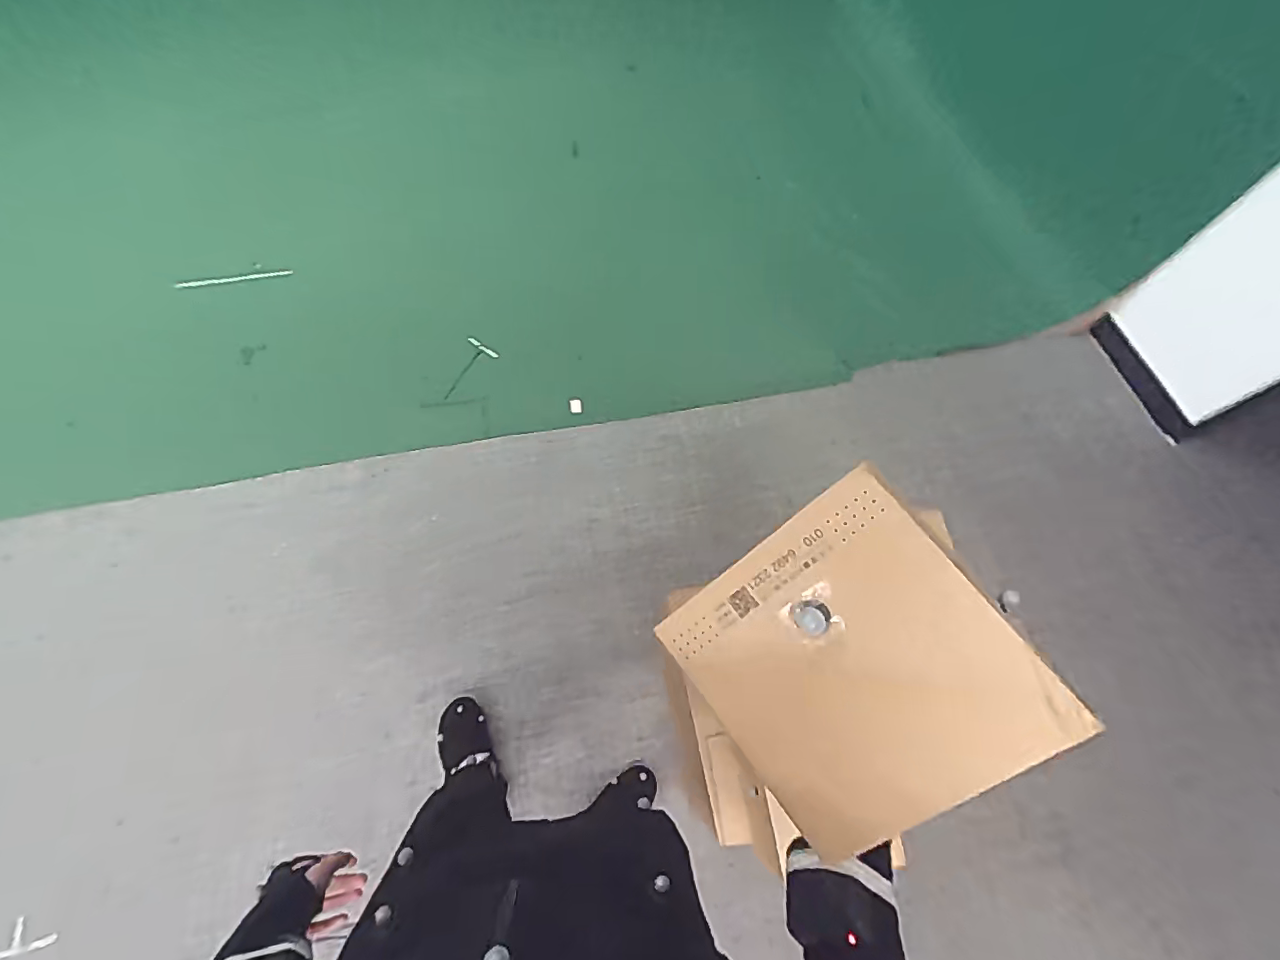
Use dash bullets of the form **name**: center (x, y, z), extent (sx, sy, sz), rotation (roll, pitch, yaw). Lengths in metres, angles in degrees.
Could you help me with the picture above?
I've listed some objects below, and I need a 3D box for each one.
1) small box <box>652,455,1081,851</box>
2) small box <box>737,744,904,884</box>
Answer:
- **small box**: center (0.140, 0.096, 0.379), extent (0.168, 0.179, 0.176), rotation (-44, 75, 19)
- **small box**: center (0.247, 0.458, 0.793), extent (0.168, 0.176, 0.179), rotation (-7, 65, -3)
